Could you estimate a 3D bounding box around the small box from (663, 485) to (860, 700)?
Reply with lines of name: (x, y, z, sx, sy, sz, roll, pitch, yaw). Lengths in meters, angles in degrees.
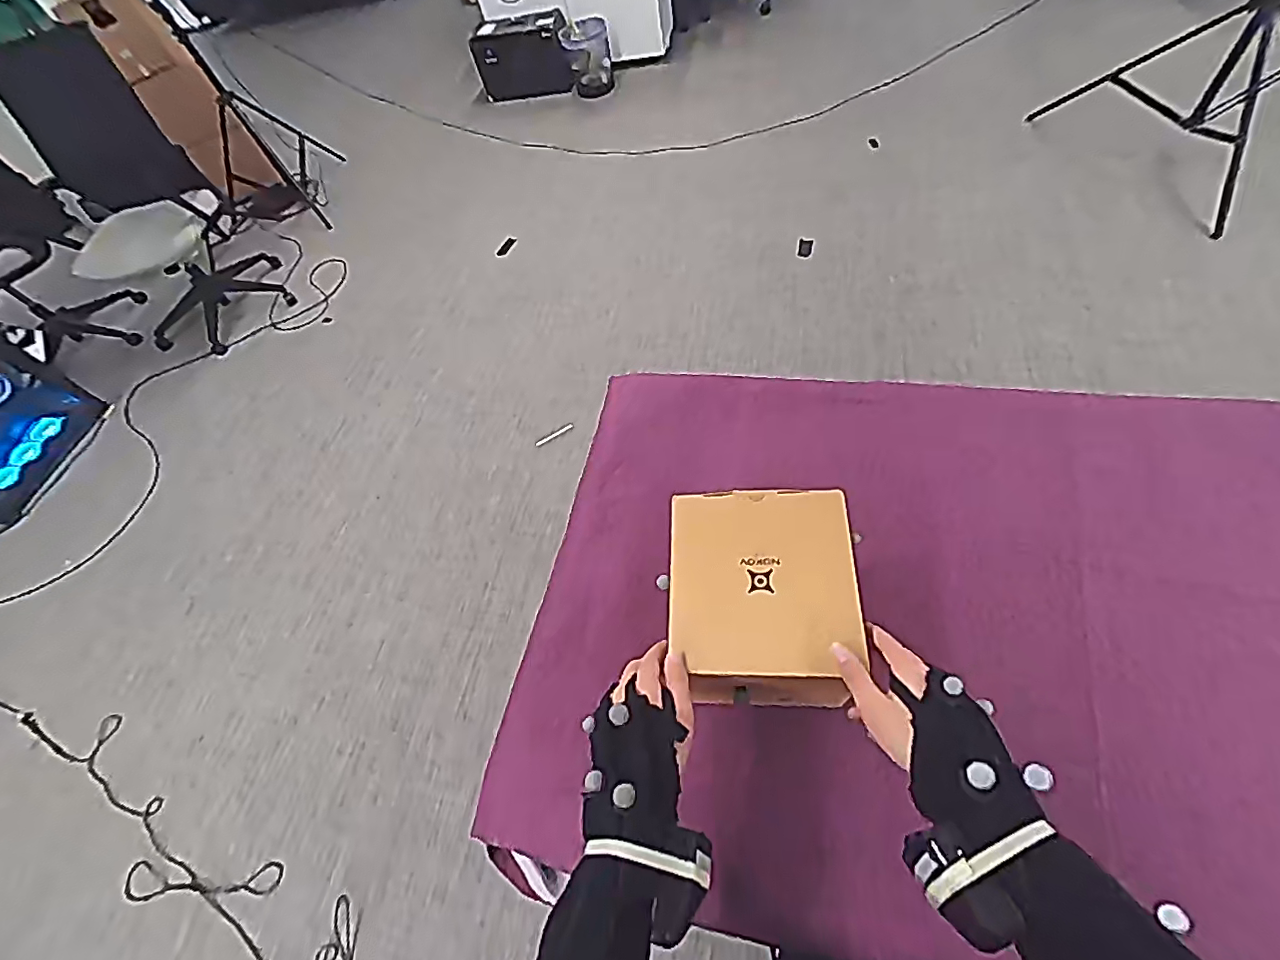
small box: (0.120, 0.123, 0.559, 0.168, 0.176, 0.179, -3, 58, 10)
